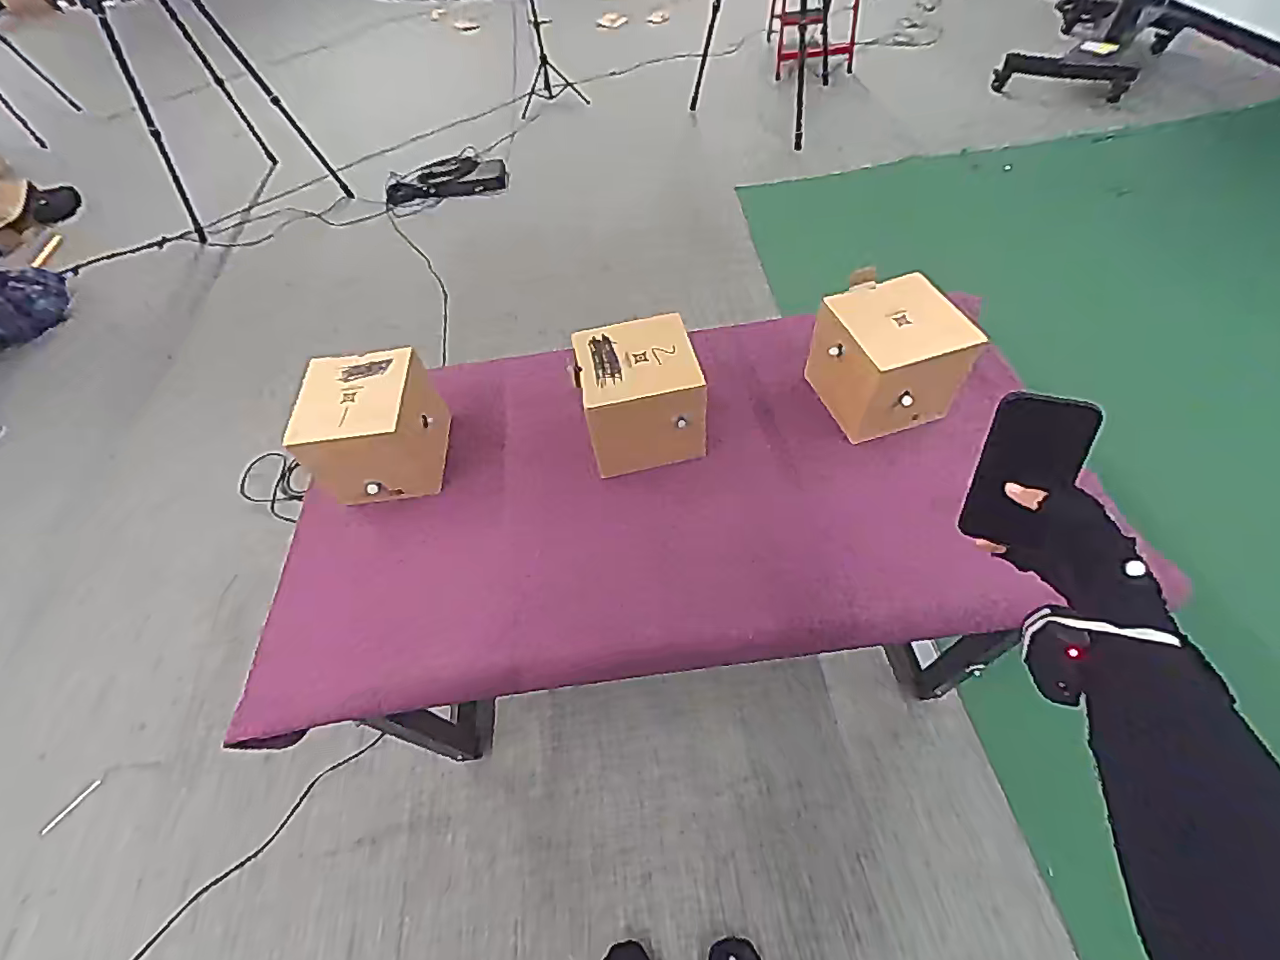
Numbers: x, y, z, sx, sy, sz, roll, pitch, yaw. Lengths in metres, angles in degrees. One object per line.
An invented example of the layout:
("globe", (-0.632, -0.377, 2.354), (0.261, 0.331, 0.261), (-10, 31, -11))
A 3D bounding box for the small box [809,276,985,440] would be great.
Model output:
("small box", (0.387, -0.183, 0.853), (0.168, 0.176, 0.179), (-16, 55, -5))

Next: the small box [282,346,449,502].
("small box", (-0.421, -0.086, 0.866), (0.168, 0.176, 0.179), (-7, 56, 1))
